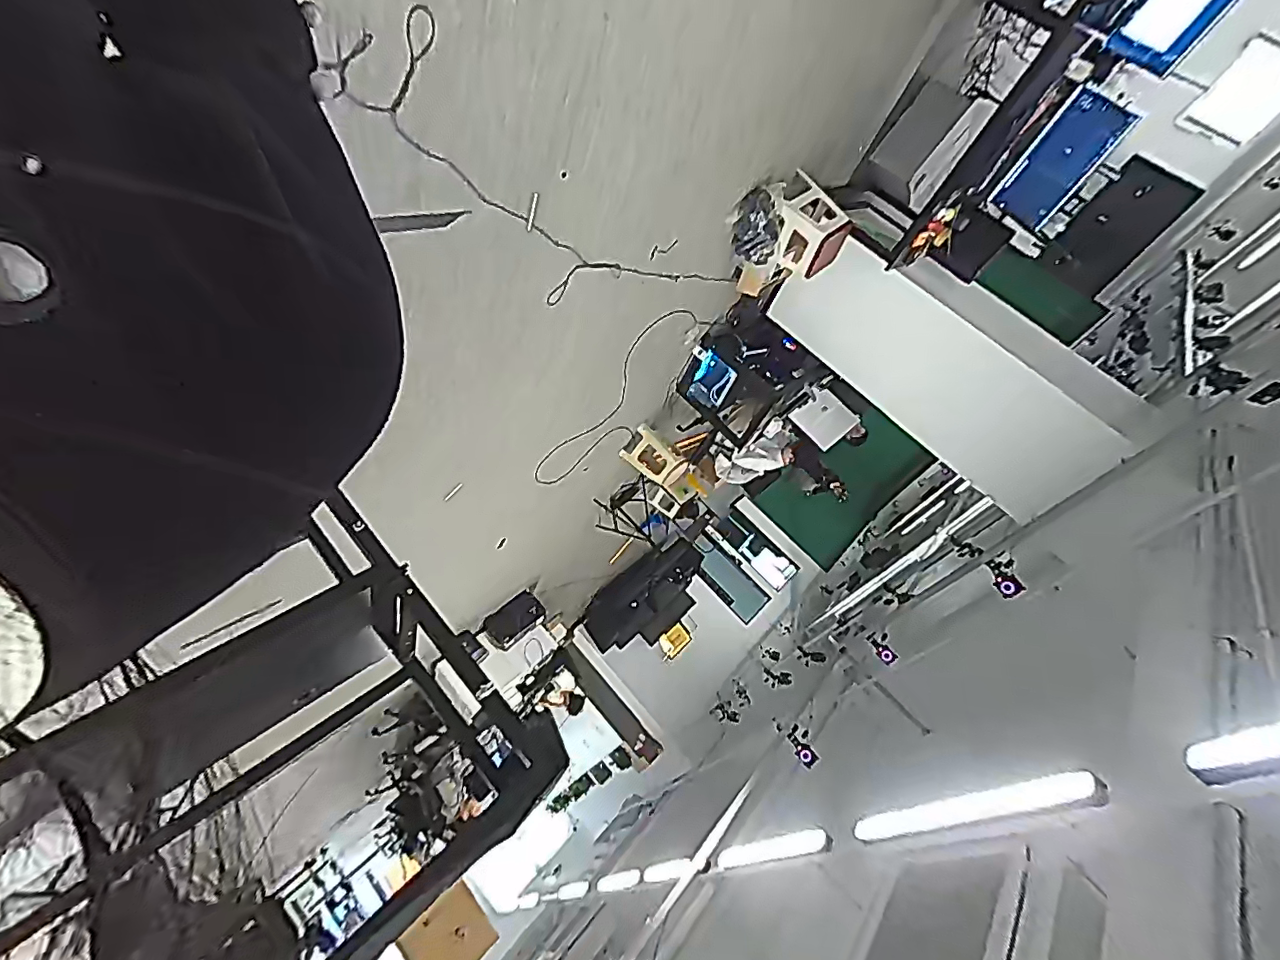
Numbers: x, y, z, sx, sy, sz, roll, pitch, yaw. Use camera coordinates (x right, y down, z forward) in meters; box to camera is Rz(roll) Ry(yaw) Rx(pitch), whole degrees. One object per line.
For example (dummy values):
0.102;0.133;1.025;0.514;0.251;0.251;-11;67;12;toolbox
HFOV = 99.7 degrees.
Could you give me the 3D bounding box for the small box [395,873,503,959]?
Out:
-0.455;1.073;1.277;0.168;0.176;0.179;-30;161;-43;small box
